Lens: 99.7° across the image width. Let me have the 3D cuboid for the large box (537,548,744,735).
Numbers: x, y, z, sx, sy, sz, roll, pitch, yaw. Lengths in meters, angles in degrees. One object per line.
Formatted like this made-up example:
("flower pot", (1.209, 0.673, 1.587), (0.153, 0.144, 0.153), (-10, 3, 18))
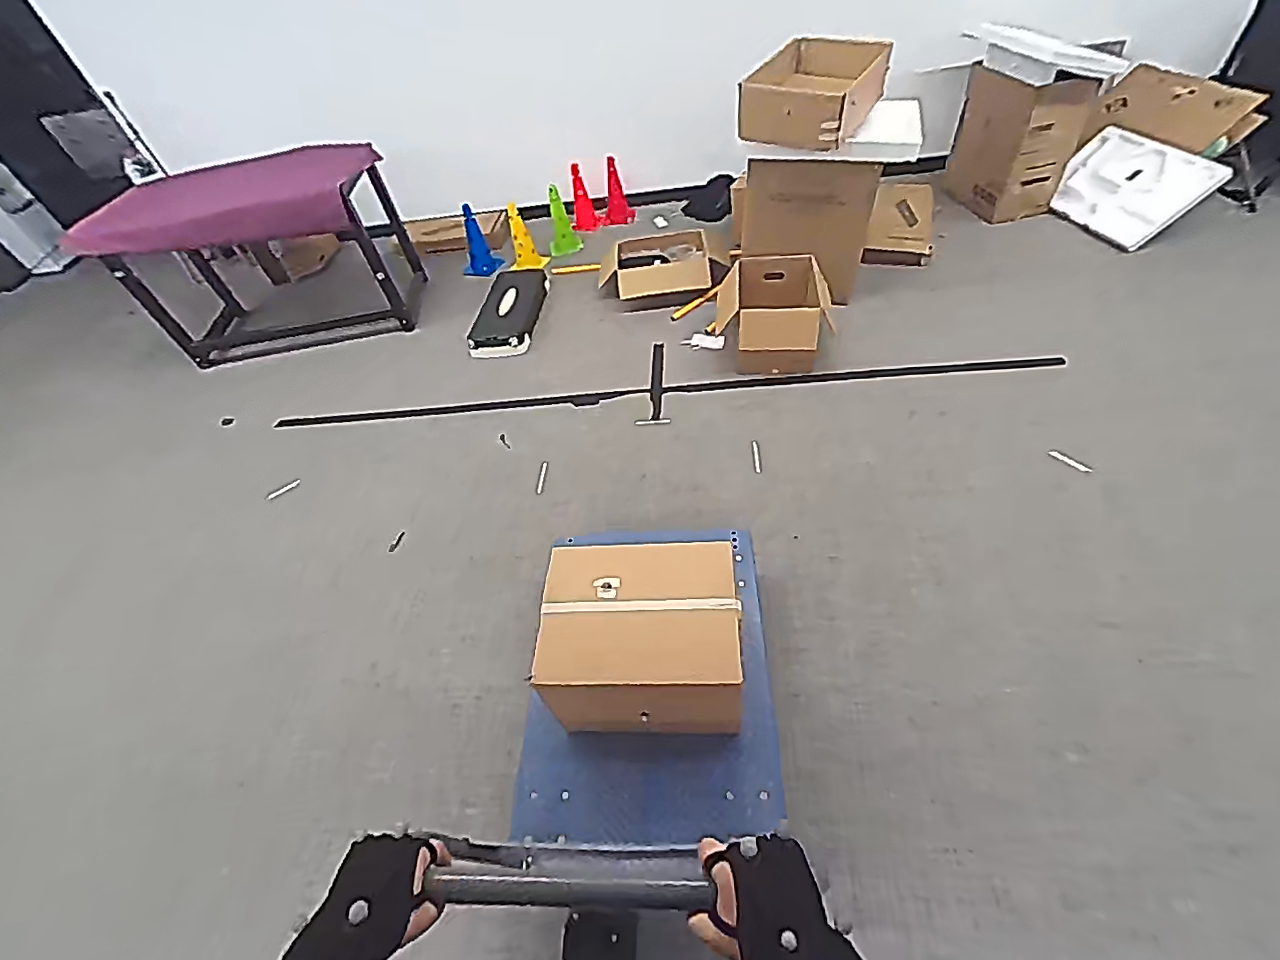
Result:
("large box", (0.019, 0.378, 1.235), (0.408, 0.320, 0.320), (-4, 48, 7))
